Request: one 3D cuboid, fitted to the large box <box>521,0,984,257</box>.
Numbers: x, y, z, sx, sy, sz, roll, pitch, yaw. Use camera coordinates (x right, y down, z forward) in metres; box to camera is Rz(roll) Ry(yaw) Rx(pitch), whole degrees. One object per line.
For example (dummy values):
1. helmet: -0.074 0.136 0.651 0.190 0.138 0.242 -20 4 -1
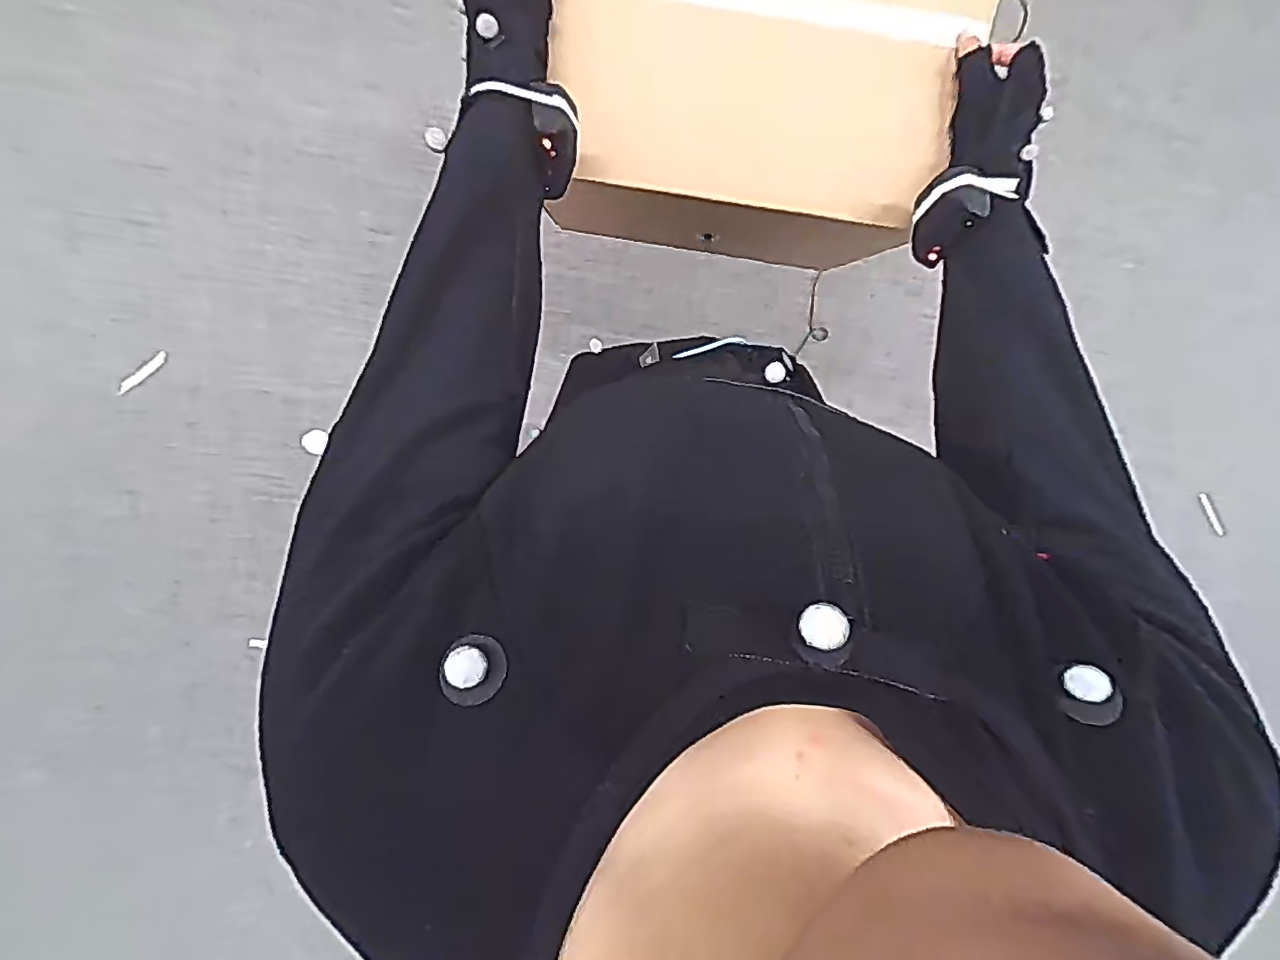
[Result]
1. large box: 0.103 -0.457 0.621 0.408 0.320 0.320 8 105 -3
